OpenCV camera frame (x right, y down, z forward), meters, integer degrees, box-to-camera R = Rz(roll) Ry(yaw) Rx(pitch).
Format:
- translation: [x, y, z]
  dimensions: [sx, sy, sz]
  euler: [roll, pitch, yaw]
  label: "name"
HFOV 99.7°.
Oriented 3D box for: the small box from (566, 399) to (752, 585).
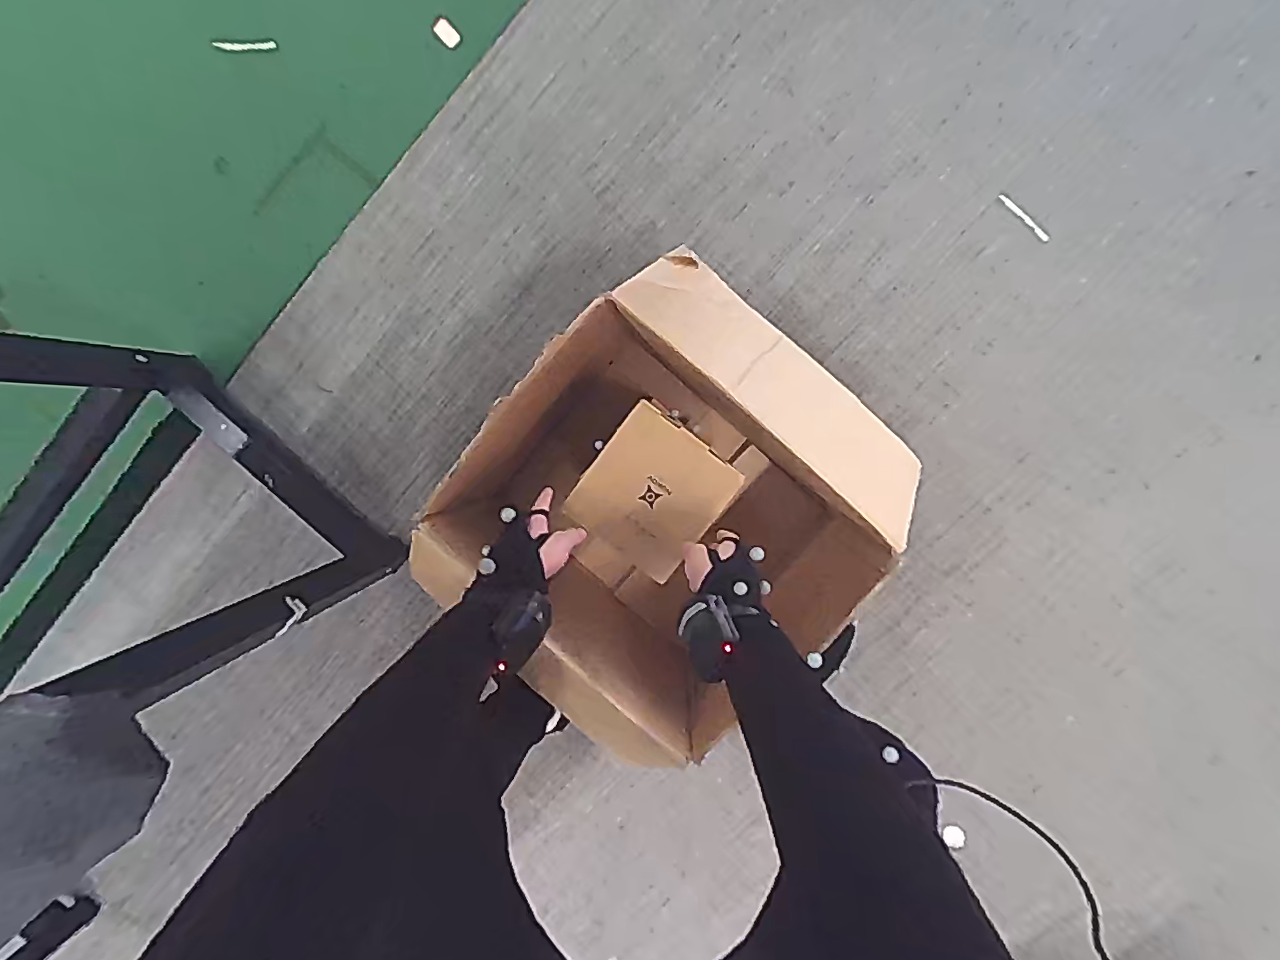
- translation: [0.024, 0.005, 0.737]
  dimensions: [0.168, 0.176, 0.179]
  euler: [38, 98, -3]
  label: "small box"
